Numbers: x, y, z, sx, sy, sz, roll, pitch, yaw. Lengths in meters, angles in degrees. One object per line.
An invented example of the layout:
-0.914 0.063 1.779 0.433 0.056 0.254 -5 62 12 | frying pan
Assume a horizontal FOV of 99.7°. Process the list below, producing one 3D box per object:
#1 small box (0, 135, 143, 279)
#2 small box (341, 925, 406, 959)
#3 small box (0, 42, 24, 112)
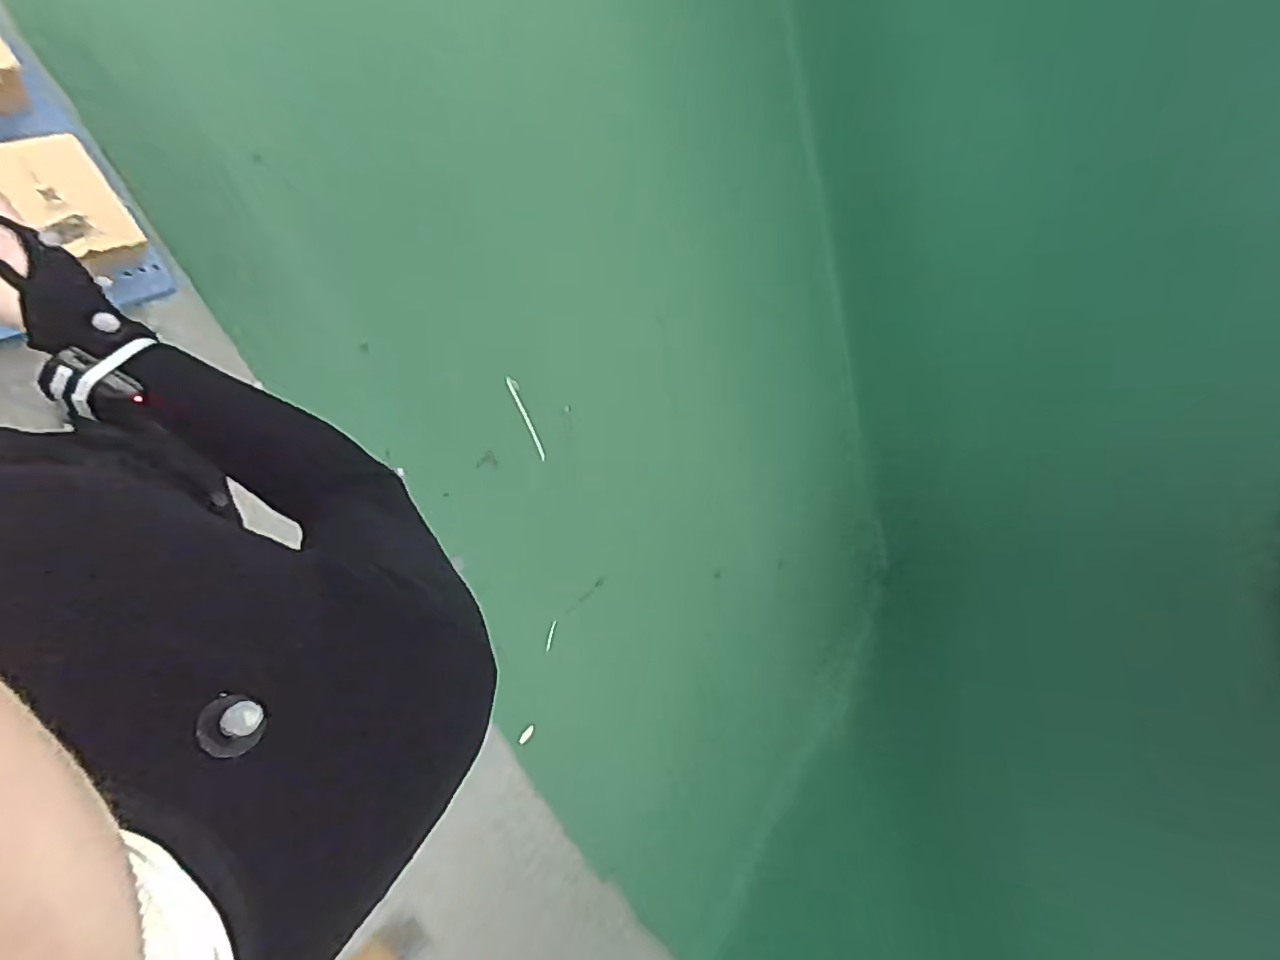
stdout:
-1.028 -0.468 0.950 0.168 0.176 0.179 -41 120 -34 | small box
-0.797 1.501 1.617 0.179 0.176 0.168 -35 117 -37 | small box
-1.111 -0.685 0.820 0.168 0.176 0.179 -40 121 -33 | small box
